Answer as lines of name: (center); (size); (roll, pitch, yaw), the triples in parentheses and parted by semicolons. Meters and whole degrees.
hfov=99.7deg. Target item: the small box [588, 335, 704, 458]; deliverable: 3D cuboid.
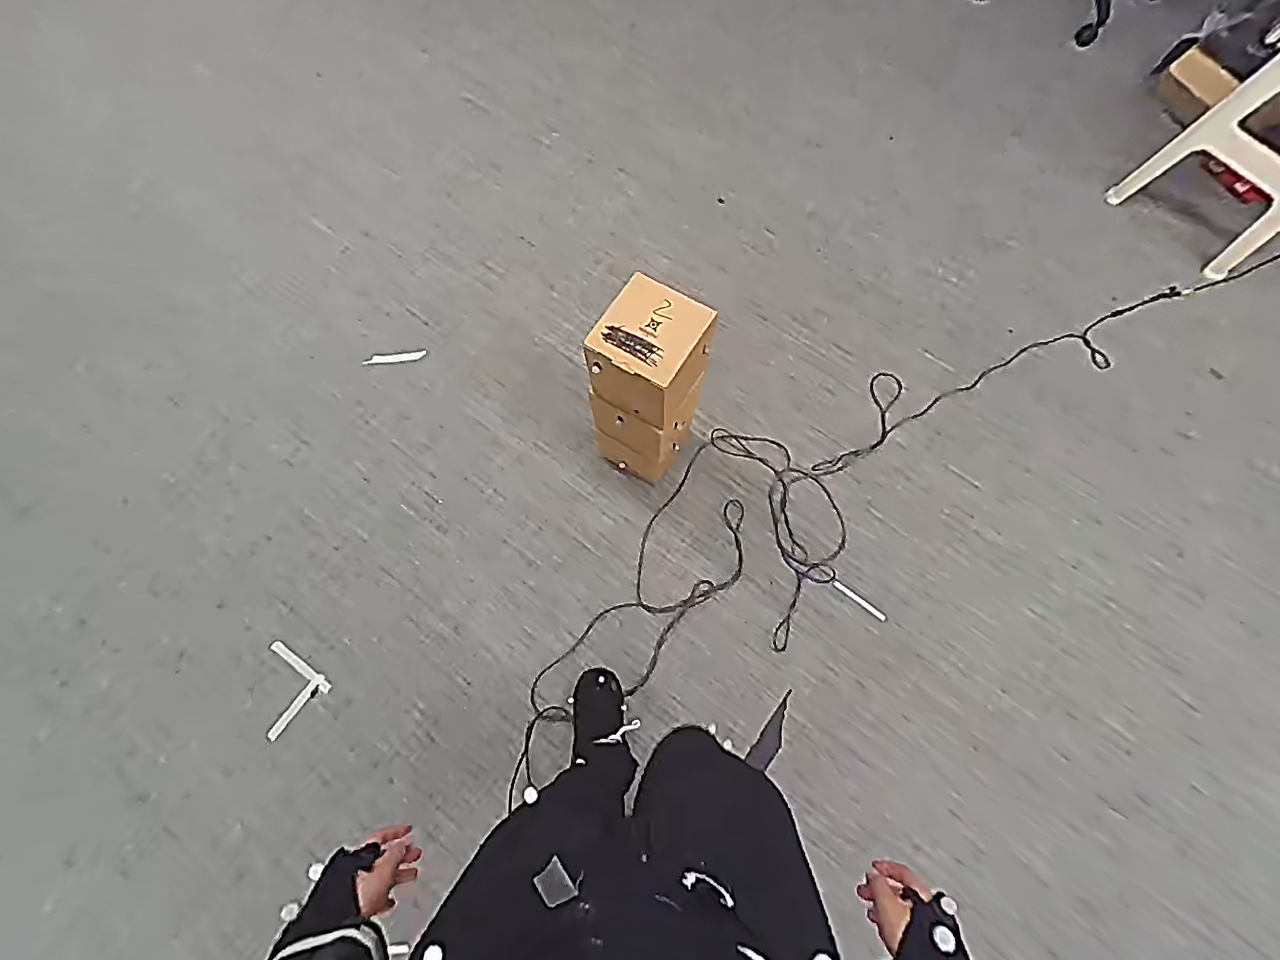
small box: (0.015, -0.165, 1.143); (0.179, 0.176, 0.168); (31, 75, 11)

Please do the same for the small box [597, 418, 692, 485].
small box: (0.014, -0.116, 1.297); (0.168, 0.176, 0.179); (29, 75, 10)
